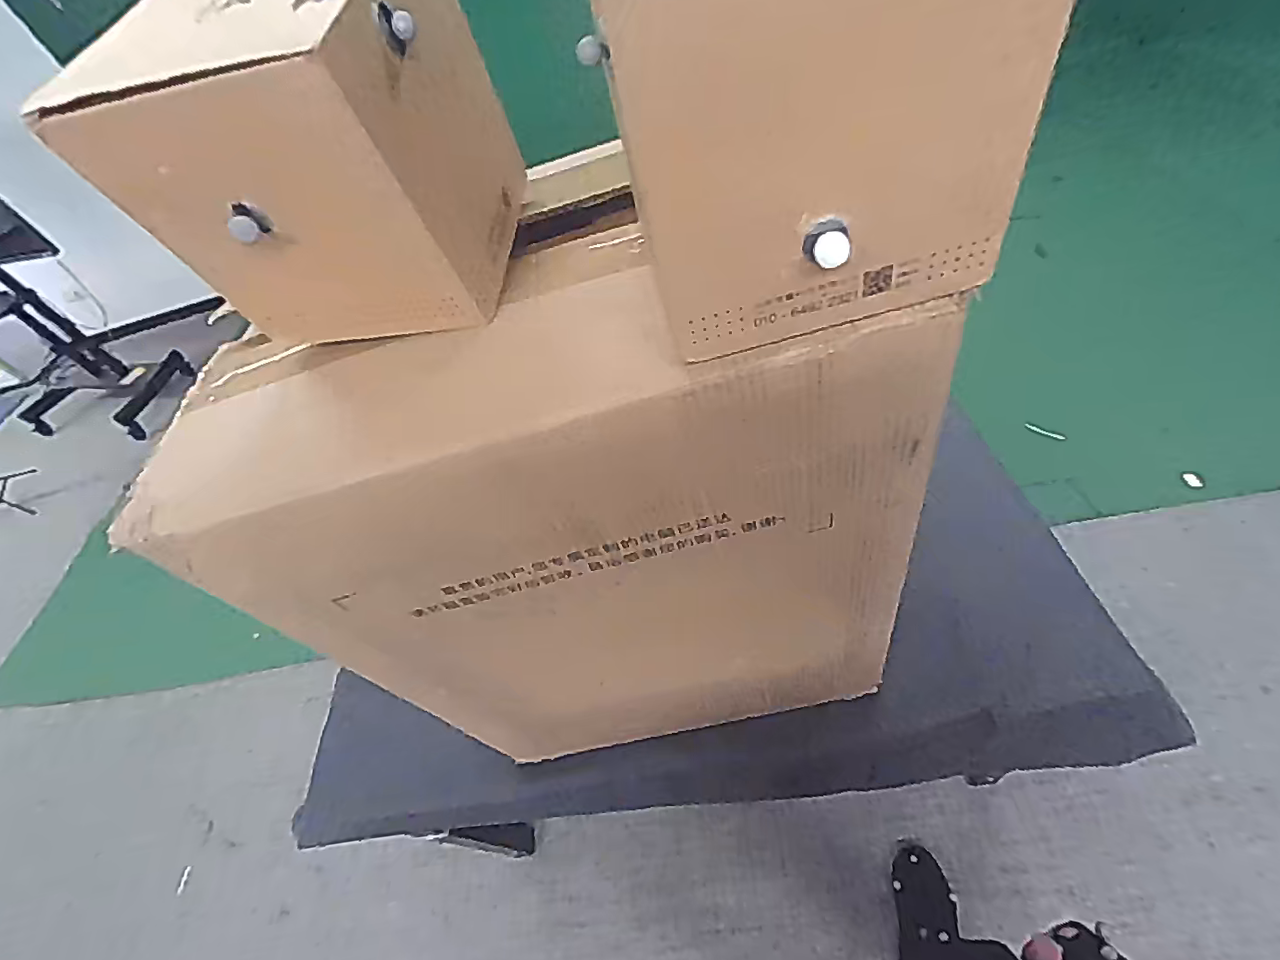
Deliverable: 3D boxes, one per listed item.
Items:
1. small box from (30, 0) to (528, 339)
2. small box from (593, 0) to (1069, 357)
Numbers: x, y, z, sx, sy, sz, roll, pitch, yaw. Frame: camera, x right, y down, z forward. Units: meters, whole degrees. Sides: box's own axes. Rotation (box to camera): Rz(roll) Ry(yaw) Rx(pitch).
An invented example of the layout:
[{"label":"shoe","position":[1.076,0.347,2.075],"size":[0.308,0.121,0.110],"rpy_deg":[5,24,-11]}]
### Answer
[{"label":"small box","position":[-0.197,-0.211,0.353],"size":[0.179,0.176,0.168],"rpy_deg":[-2,63,14]},{"label":"small box","position":[0.071,-0.194,0.278],"size":[0.168,0.176,0.179],"rpy_deg":[-14,50,6]}]
